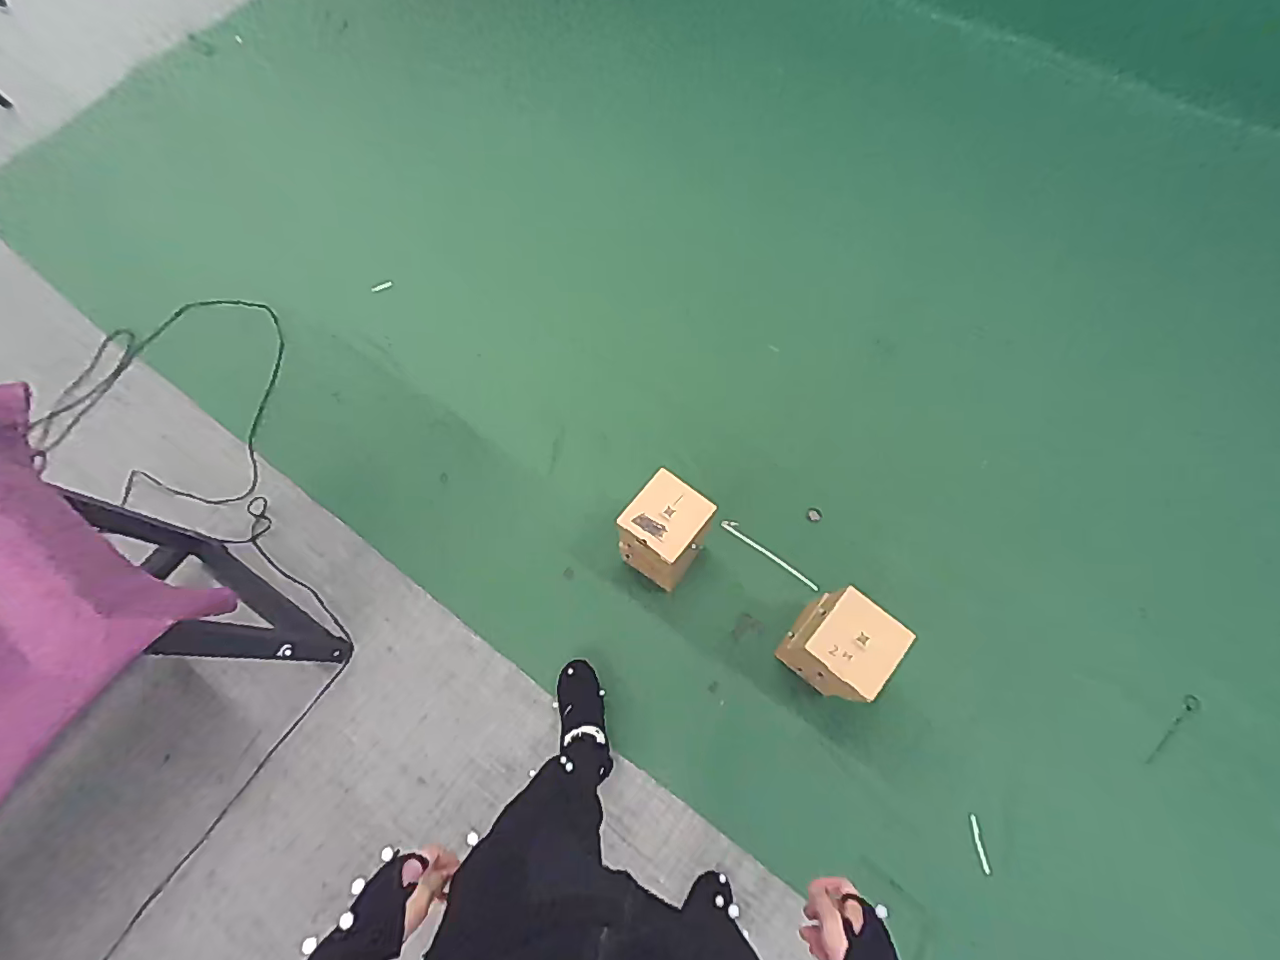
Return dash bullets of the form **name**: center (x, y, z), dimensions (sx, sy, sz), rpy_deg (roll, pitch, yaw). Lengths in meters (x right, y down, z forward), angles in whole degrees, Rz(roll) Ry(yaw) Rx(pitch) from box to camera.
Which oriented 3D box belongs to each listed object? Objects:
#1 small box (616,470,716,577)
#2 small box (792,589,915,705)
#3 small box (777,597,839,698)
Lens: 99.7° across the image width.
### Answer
- **small box**: center (0.063, 0.112, 1.311), dimensions (0.168, 0.176, 0.179), rpy_deg (37, 74, 15)
- **small box**: center (0.461, 0.369, 1.200), dimensions (0.168, 0.176, 0.179), rpy_deg (39, 76, 15)
- **small box**: center (0.467, 0.420, 1.357), dimensions (0.168, 0.176, 0.179), rpy_deg (37, 76, 14)
